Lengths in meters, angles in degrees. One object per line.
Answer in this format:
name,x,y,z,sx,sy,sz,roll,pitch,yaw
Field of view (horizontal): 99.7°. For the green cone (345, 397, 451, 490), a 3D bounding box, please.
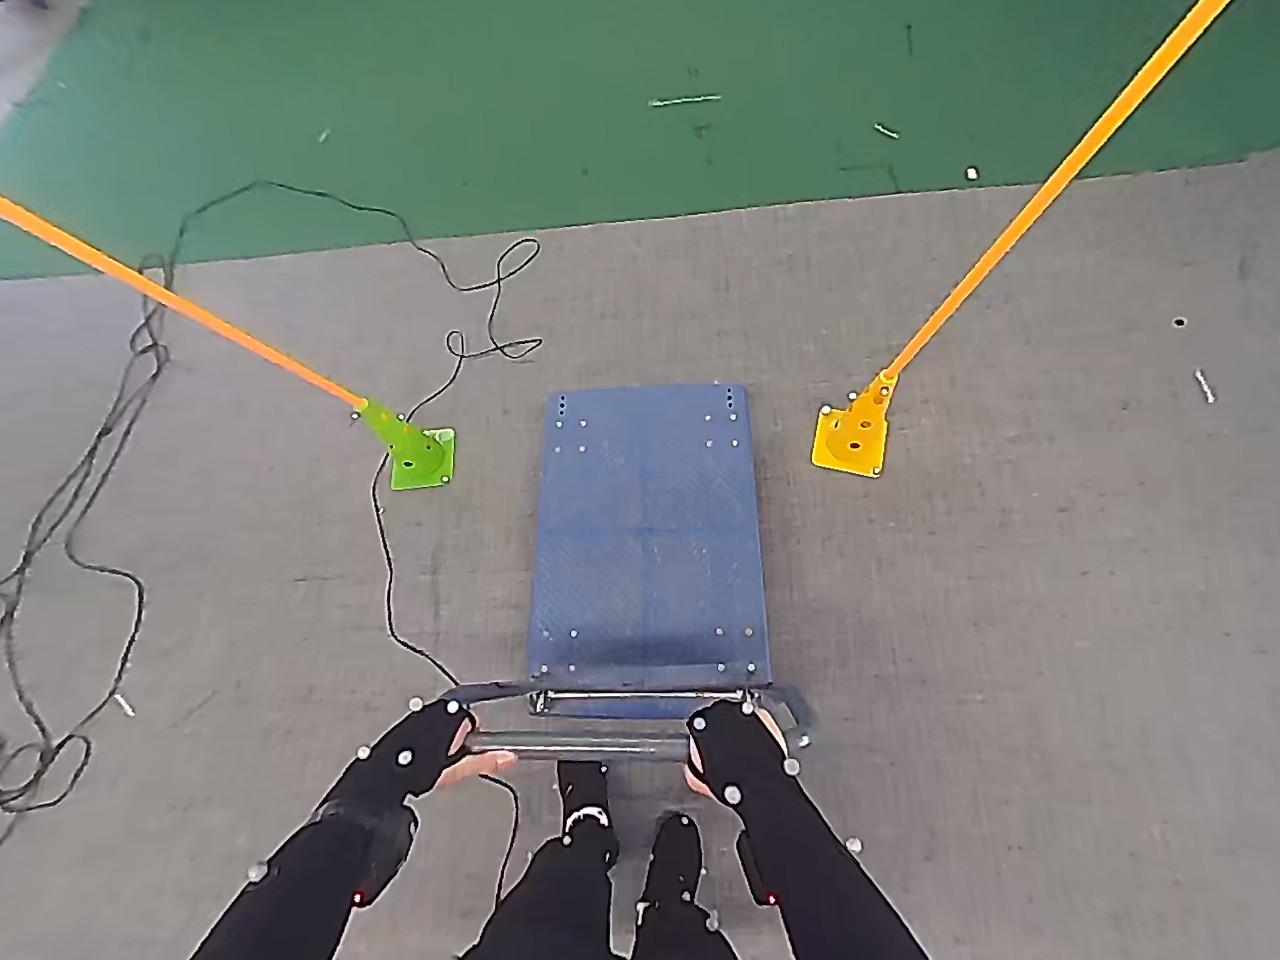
green cone,-0.720,-0.134,1.564,0.202,0.368,0.200,-7,67,4
